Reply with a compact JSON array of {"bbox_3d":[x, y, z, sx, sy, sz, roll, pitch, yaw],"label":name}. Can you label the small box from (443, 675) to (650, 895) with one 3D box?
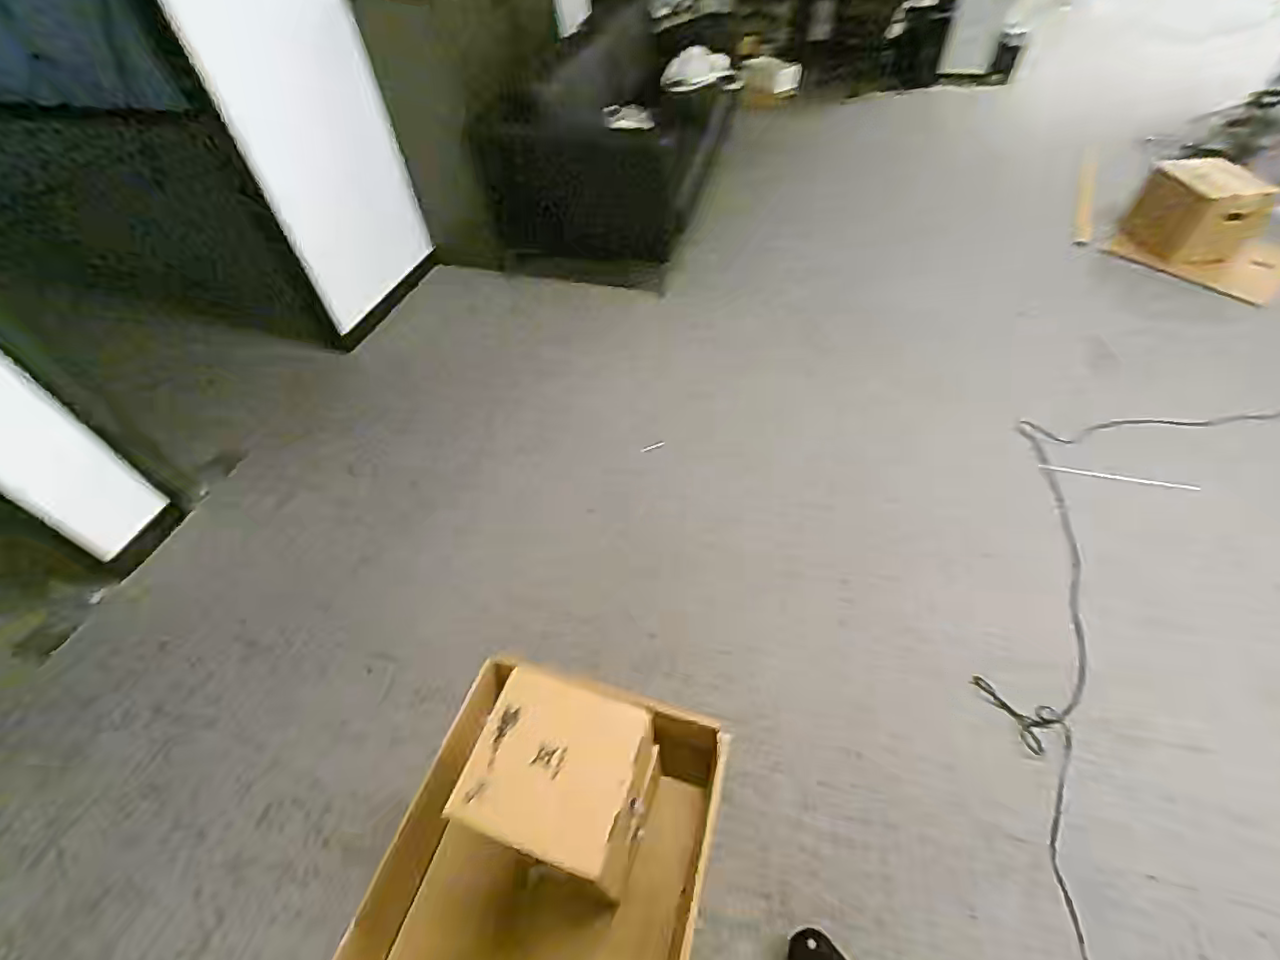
[{"bbox_3d":[-0.094,0.365,0.643,0.179,0.176,0.168,14,50,14],"label":"small box"}]
